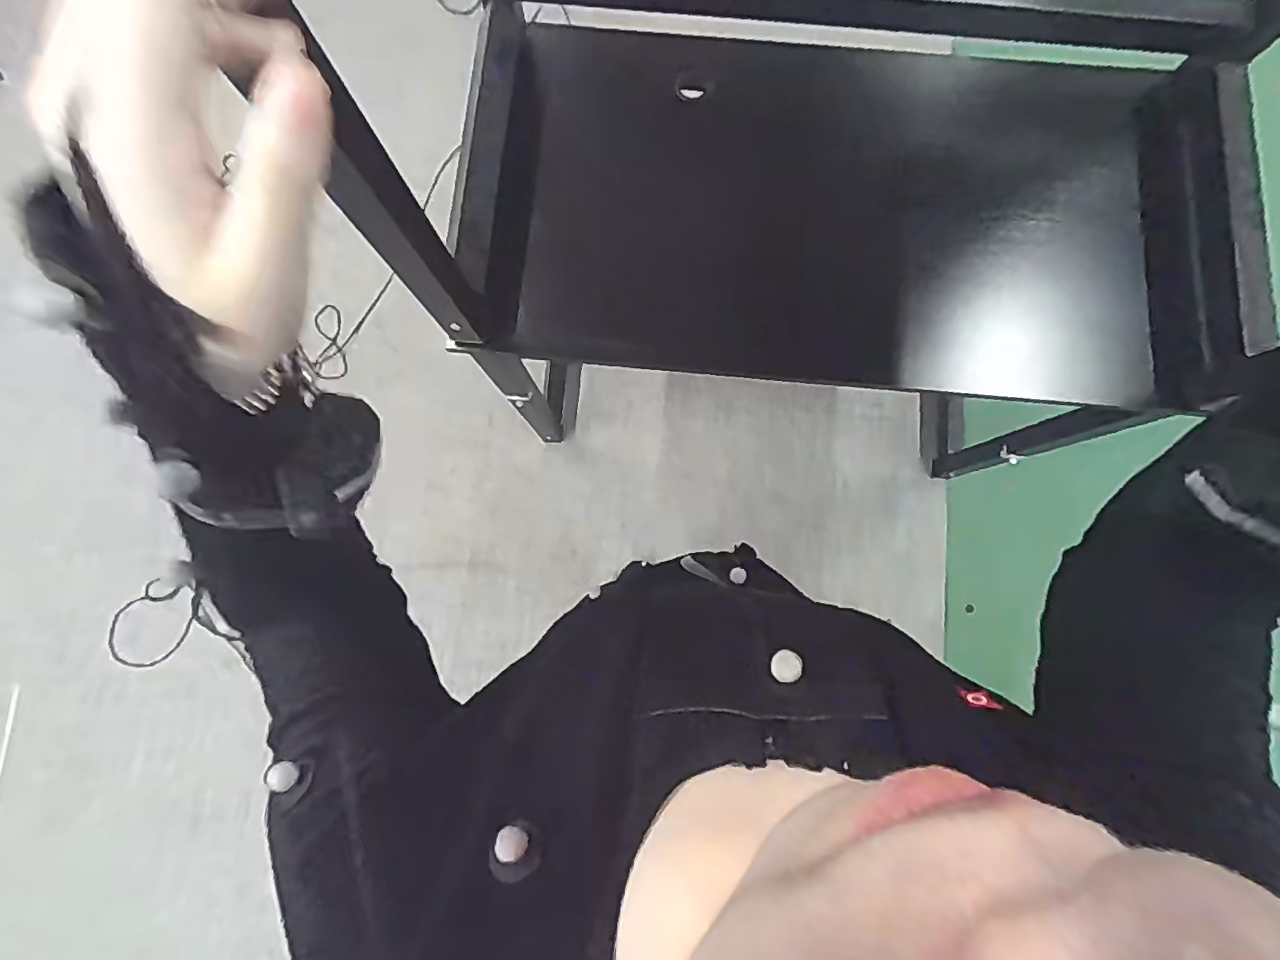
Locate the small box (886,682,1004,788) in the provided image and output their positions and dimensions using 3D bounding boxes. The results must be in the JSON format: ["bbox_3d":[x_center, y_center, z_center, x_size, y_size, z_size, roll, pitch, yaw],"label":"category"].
[{"bbox_3d":[0.666,0.555,1.199,0.179,0.176,0.168,5,81,1],"label":"small box"}]
